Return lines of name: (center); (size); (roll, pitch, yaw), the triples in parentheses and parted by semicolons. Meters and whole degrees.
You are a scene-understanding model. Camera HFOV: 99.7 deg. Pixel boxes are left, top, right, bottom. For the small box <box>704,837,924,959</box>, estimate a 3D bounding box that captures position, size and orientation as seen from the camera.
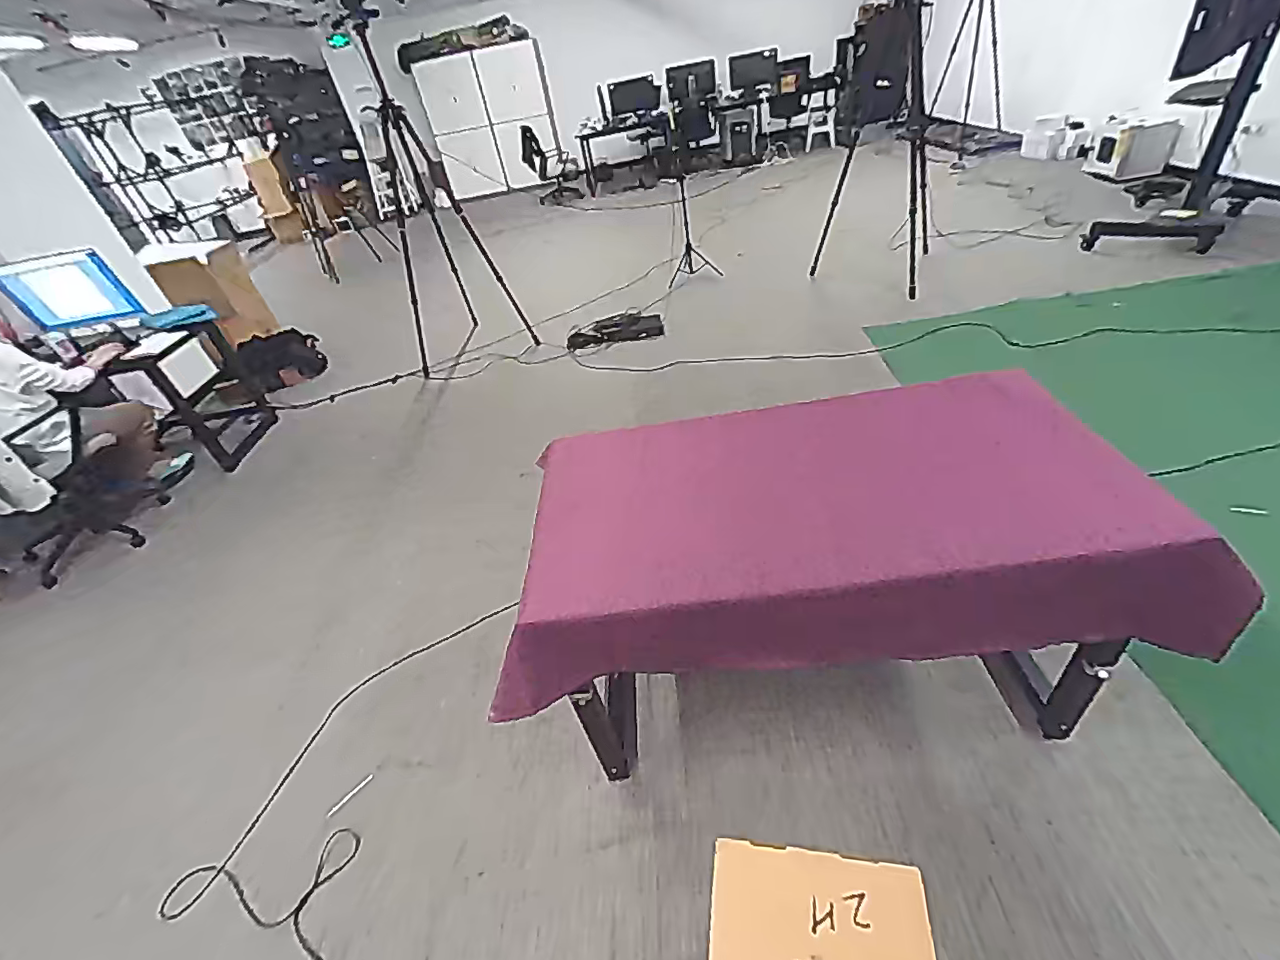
small box: (0.143, 0.438, 0.458); (0.168, 0.176, 0.179); (0, 43, 14)
